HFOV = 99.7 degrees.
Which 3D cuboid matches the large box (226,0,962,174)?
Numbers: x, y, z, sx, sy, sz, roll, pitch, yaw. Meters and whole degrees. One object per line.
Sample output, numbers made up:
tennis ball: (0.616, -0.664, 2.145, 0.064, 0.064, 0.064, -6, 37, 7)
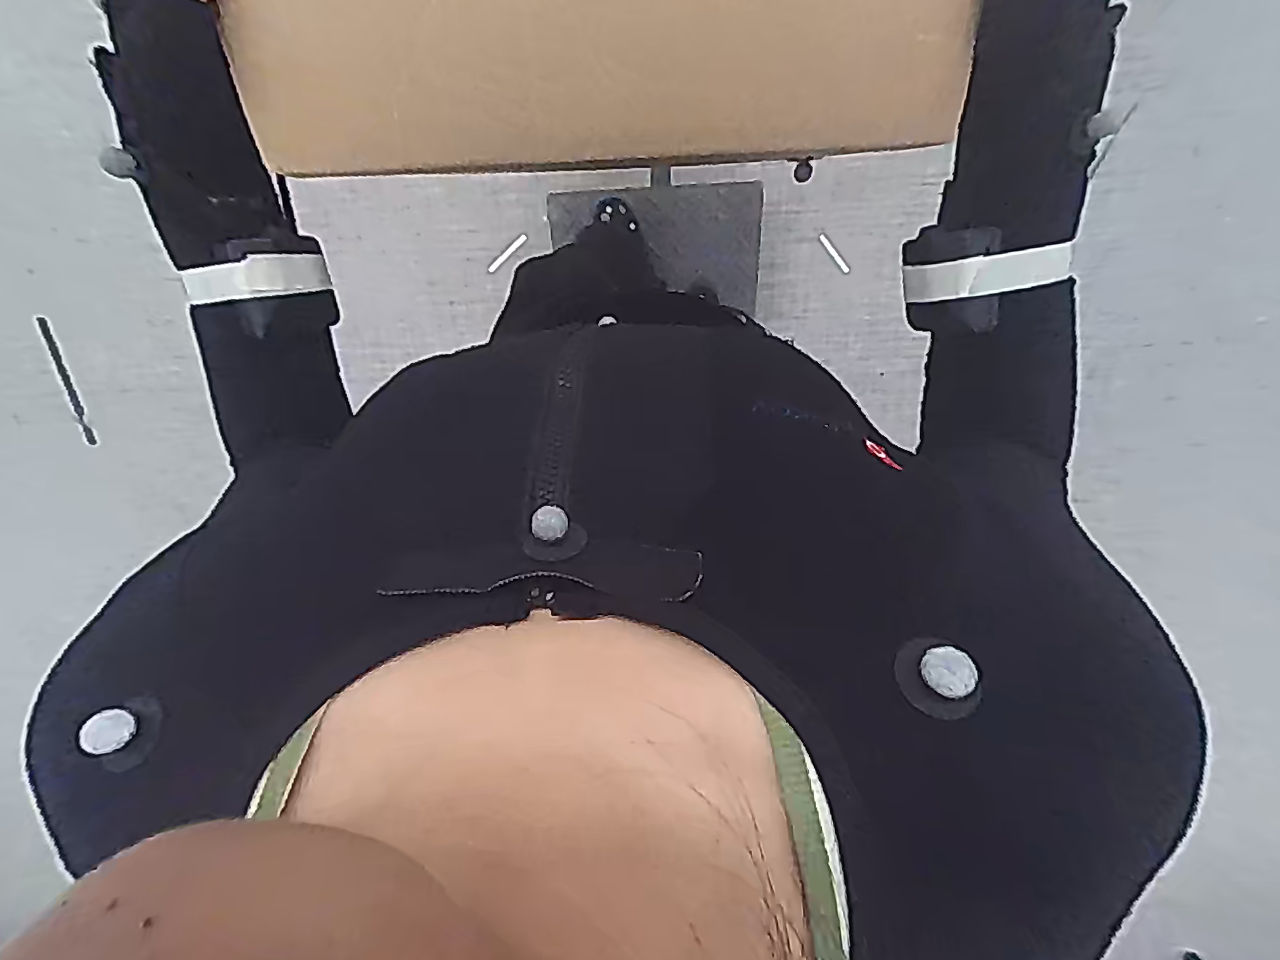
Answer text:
large box: (-0.025, -0.404, 0.378, 0.408, 0.320, 0.320, -1, 120, 1)
